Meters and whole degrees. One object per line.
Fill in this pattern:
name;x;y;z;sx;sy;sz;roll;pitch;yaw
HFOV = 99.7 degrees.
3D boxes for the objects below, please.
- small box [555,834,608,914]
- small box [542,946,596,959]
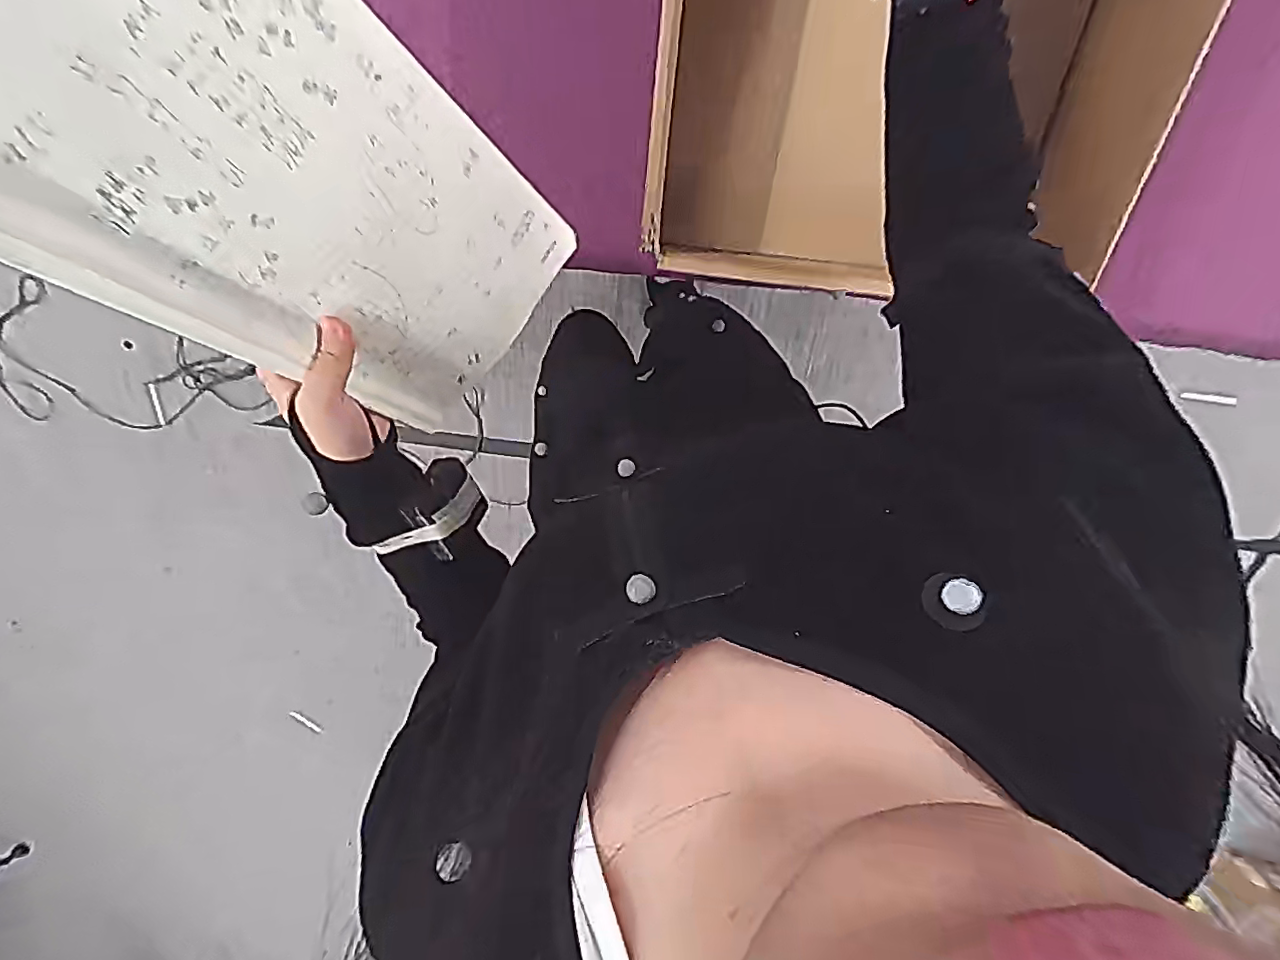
small box;-0.202;1.366;1.880;0.168;0.176;0.179;4;118;0
small box;-0.220;1.519;1.589;0.168;0.176;0.179;6;118;-2
